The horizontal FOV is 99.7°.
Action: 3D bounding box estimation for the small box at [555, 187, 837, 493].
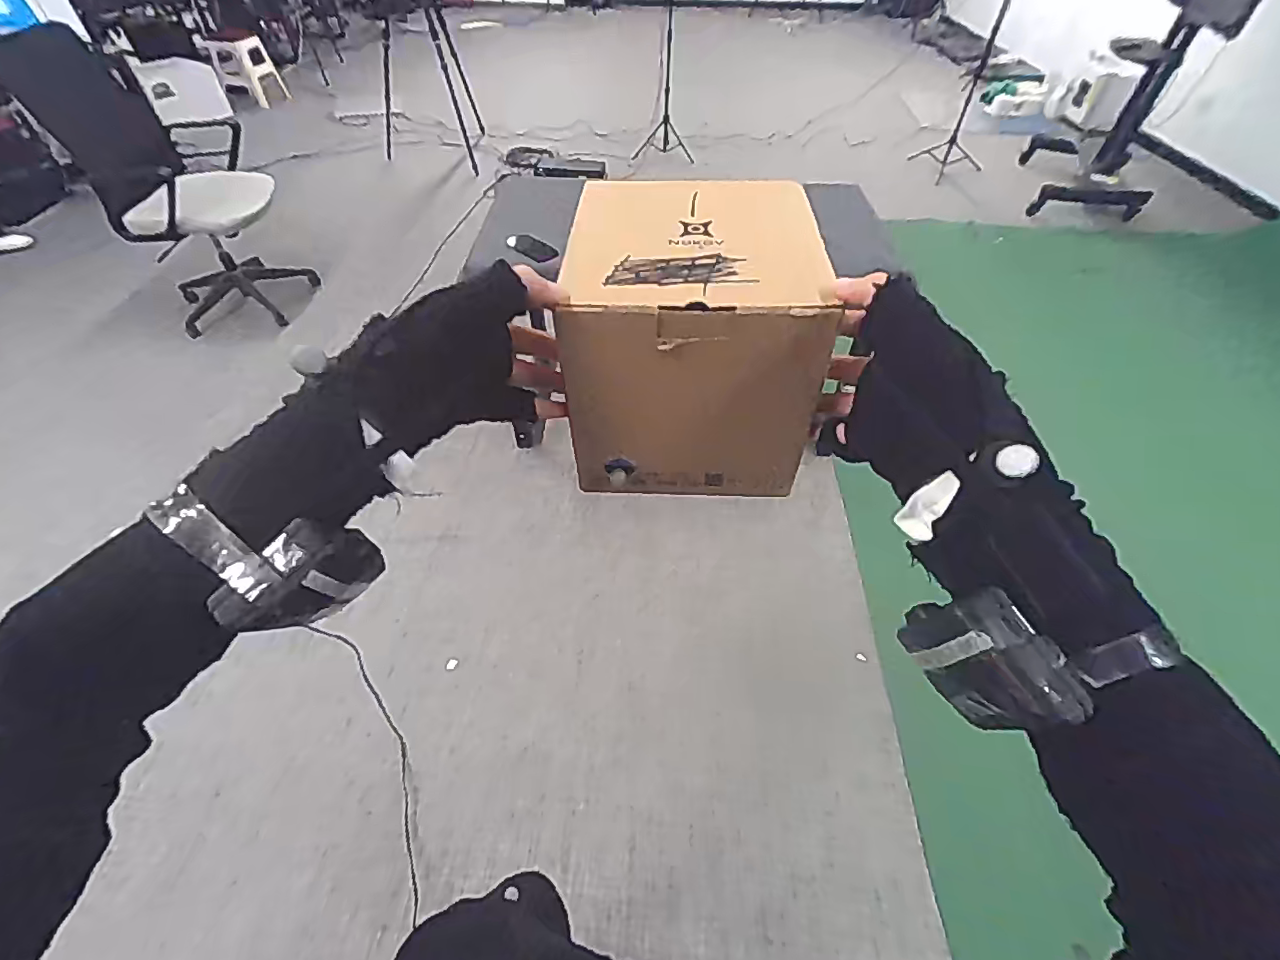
[{"bbox_3d":[0.038,-0.105,0.423,0.168,0.176,0.179,2,50,3],"label":"small box"}]
